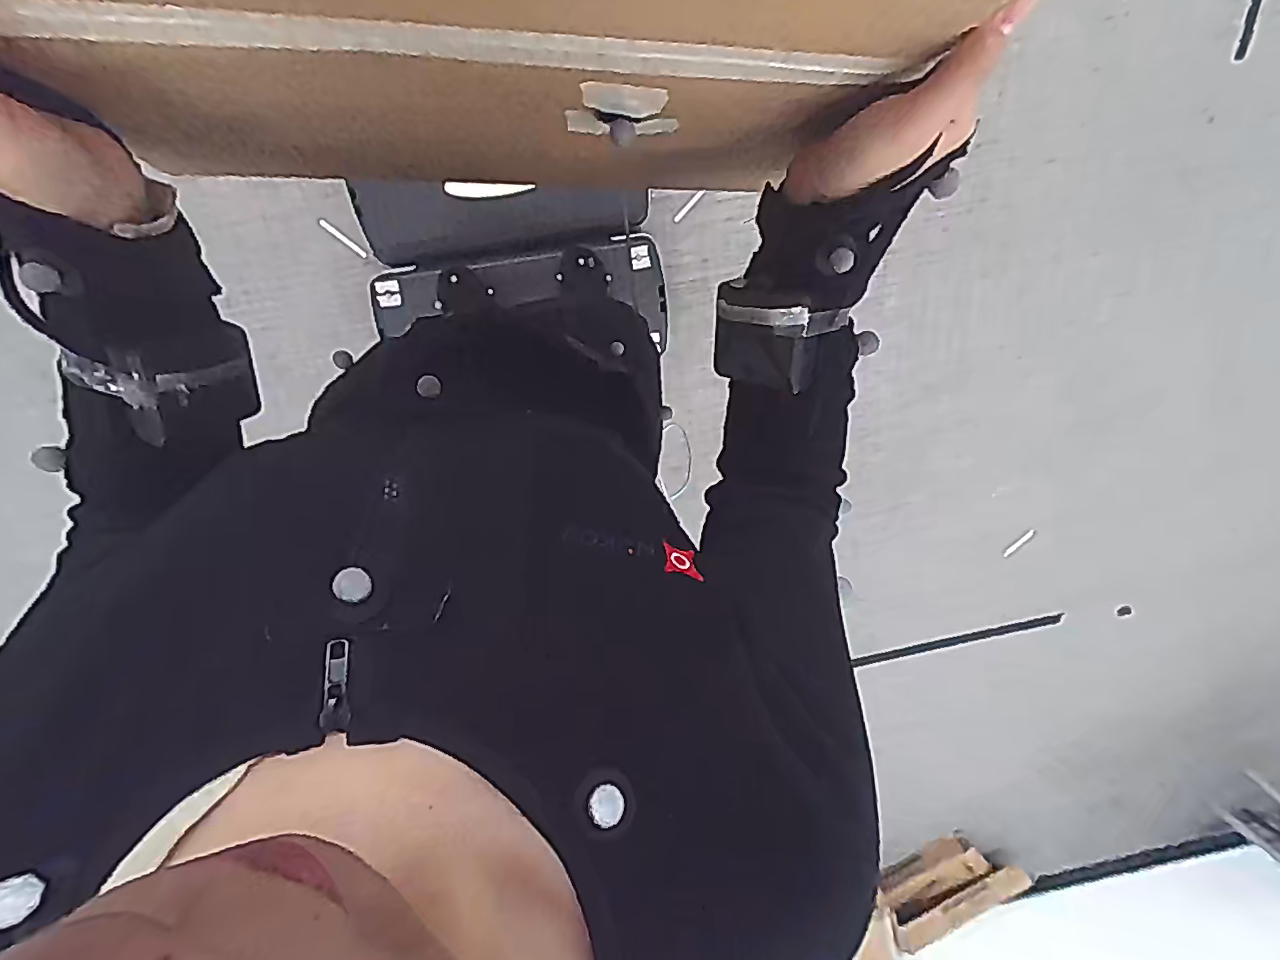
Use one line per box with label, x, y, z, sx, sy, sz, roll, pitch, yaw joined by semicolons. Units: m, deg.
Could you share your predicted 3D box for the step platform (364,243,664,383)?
step platform;-0.284;-0.406;1.308;0.684;0.204;0.286;-5;115;-5
